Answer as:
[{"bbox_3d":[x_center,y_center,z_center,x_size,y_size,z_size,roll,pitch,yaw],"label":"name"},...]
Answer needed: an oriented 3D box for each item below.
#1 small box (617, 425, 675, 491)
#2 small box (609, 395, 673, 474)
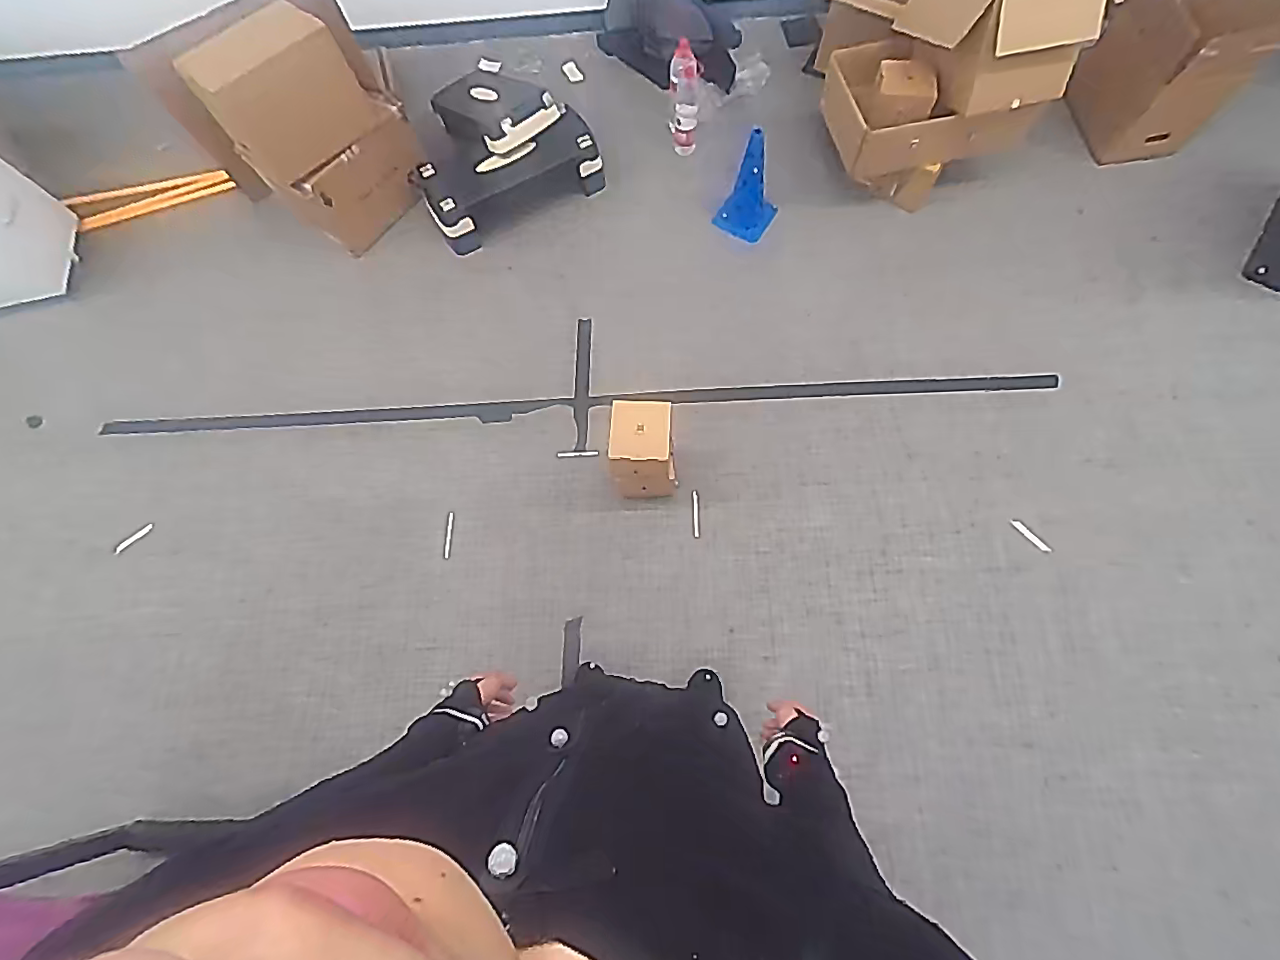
[{"bbox_3d":[0.019,-0.067,1.708,0.179,0.176,0.168,-2,72,3],"label":"small box"},{"bbox_3d":[0.006,-0.128,1.557,0.168,0.176,0.179,3,73,4],"label":"small box"}]
